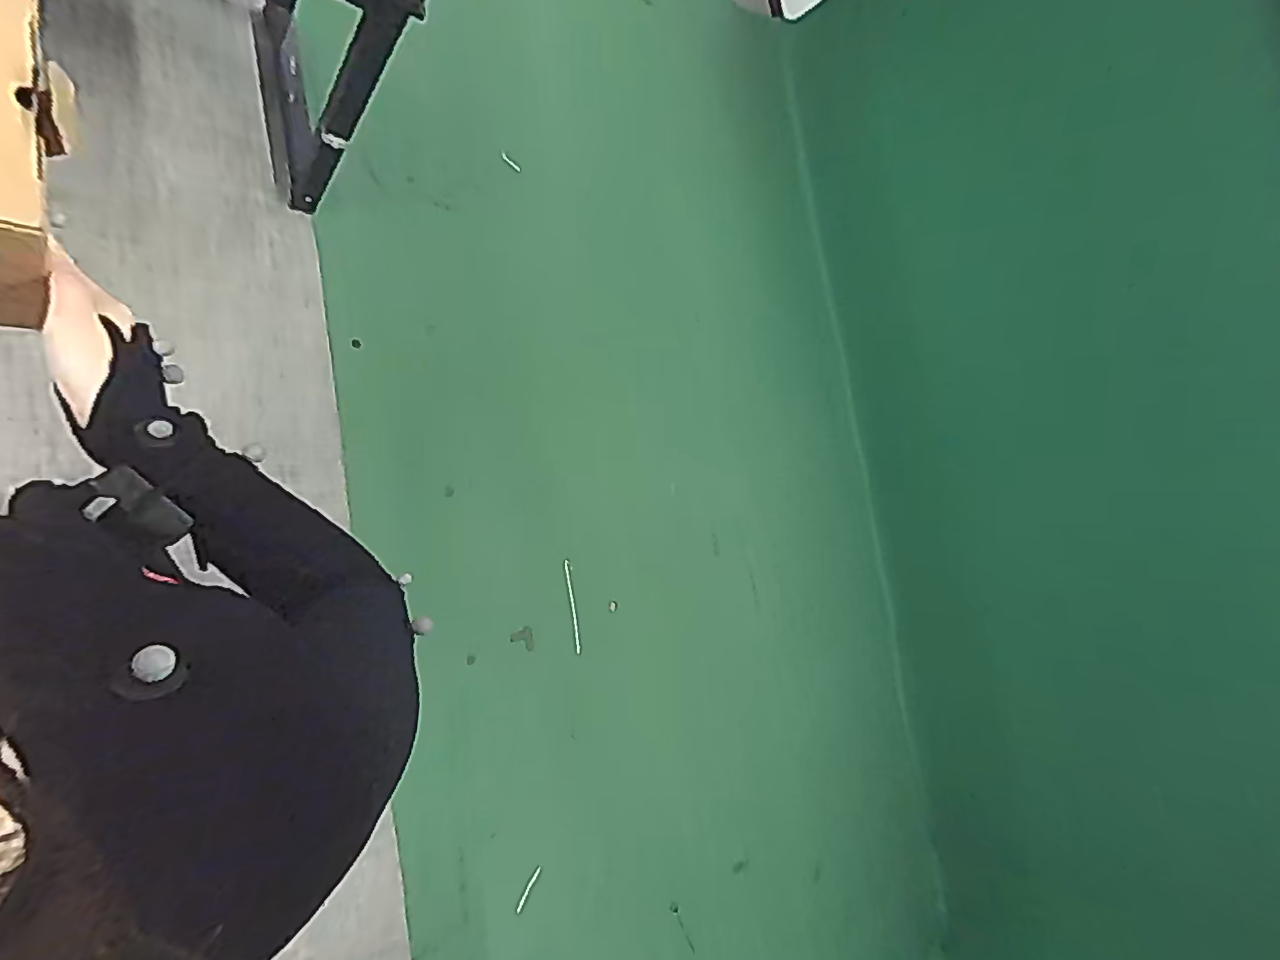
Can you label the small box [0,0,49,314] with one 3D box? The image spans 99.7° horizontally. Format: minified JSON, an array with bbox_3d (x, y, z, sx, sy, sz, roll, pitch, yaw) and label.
[{"bbox_3d":[-0.472,-0.213,0.309,0.179,0.176,0.168,-3,82,-49],"label":"small box"}]
